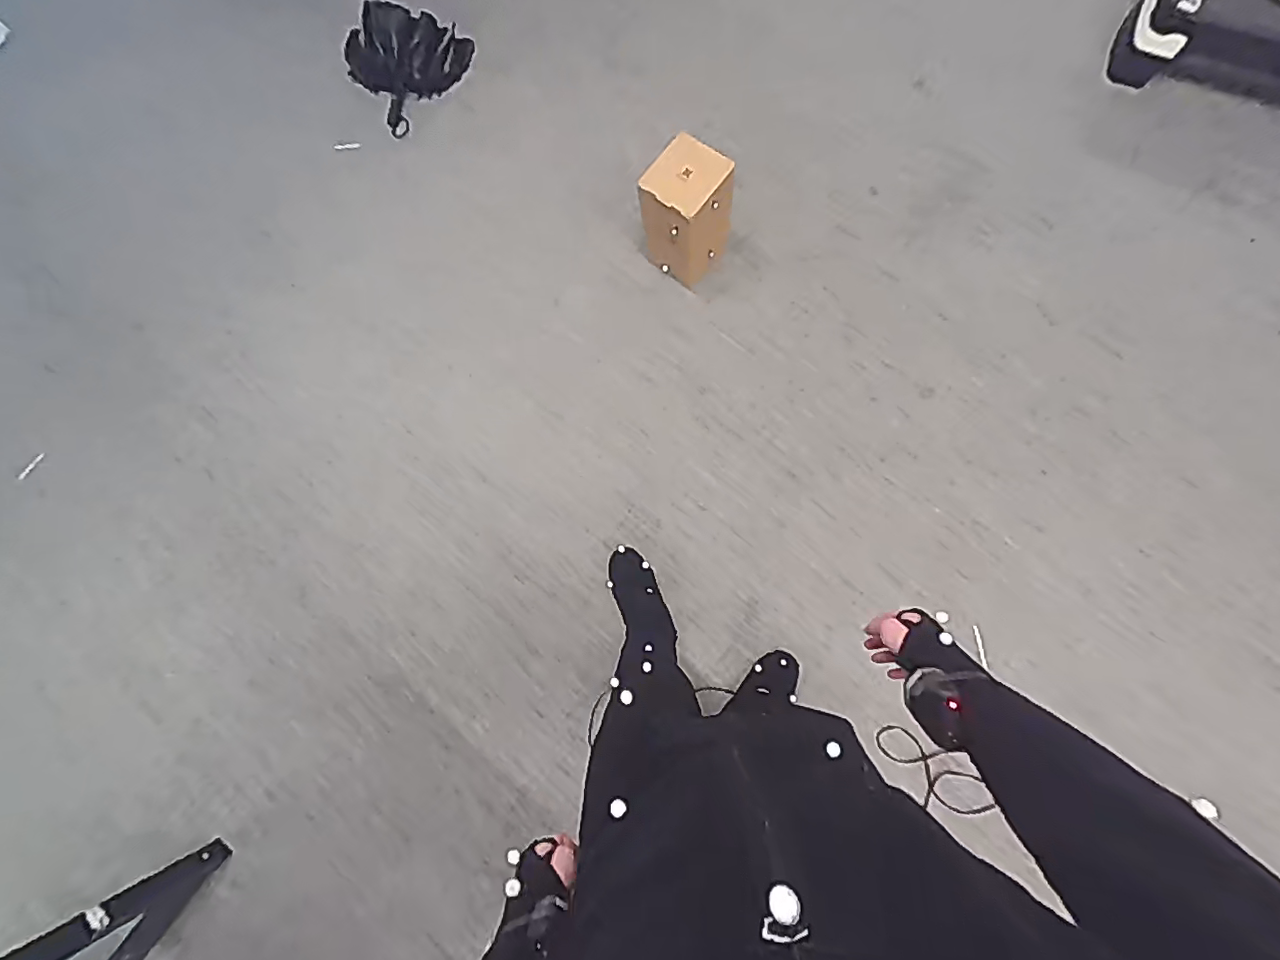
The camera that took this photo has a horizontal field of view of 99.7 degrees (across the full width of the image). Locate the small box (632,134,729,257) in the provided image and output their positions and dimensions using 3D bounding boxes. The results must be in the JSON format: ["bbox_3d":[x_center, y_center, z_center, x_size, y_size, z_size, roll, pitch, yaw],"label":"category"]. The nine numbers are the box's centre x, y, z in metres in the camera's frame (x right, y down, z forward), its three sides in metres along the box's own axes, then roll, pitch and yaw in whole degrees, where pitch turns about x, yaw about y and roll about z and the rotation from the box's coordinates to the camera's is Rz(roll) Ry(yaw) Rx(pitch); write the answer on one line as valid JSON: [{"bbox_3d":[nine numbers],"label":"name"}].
[{"bbox_3d":[0.104,-0.697,1.346,0.168,0.176,0.179,36,84,10],"label":"small box"}]

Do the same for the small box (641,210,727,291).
[{"bbox_3d":[0.122,-0.668,1.504,0.168,0.176,0.179,37,86,12],"label":"small box"}]
